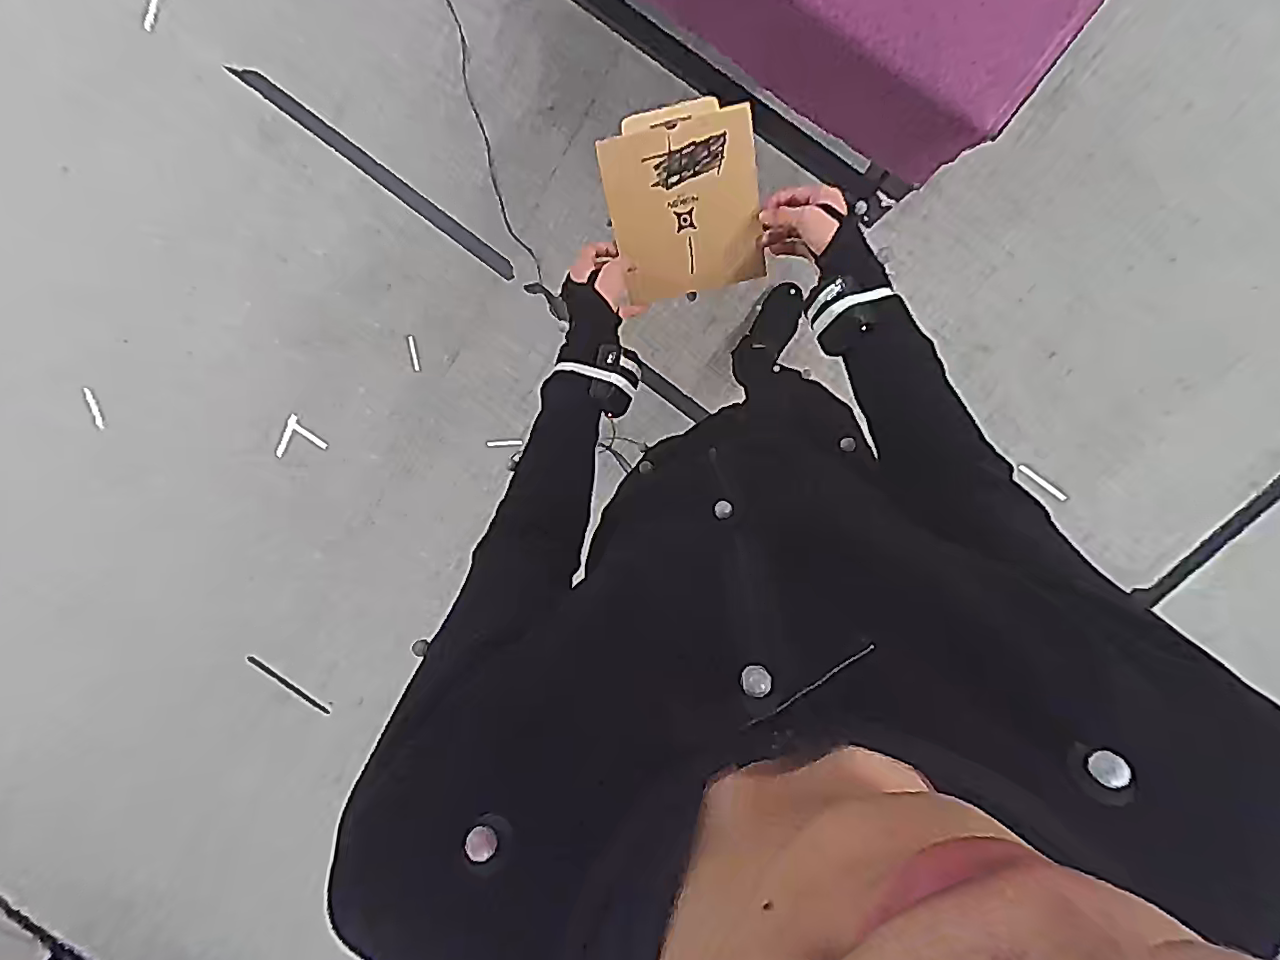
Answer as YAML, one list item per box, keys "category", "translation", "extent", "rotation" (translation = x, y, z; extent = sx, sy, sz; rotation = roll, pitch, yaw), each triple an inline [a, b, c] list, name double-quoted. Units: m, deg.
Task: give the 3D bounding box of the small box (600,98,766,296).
- category: "small box"
  translation: [0.055, -0.340, 0.682]
  extent: [0.168, 0.176, 0.179]
  rotation: [-10, 111, 8]
